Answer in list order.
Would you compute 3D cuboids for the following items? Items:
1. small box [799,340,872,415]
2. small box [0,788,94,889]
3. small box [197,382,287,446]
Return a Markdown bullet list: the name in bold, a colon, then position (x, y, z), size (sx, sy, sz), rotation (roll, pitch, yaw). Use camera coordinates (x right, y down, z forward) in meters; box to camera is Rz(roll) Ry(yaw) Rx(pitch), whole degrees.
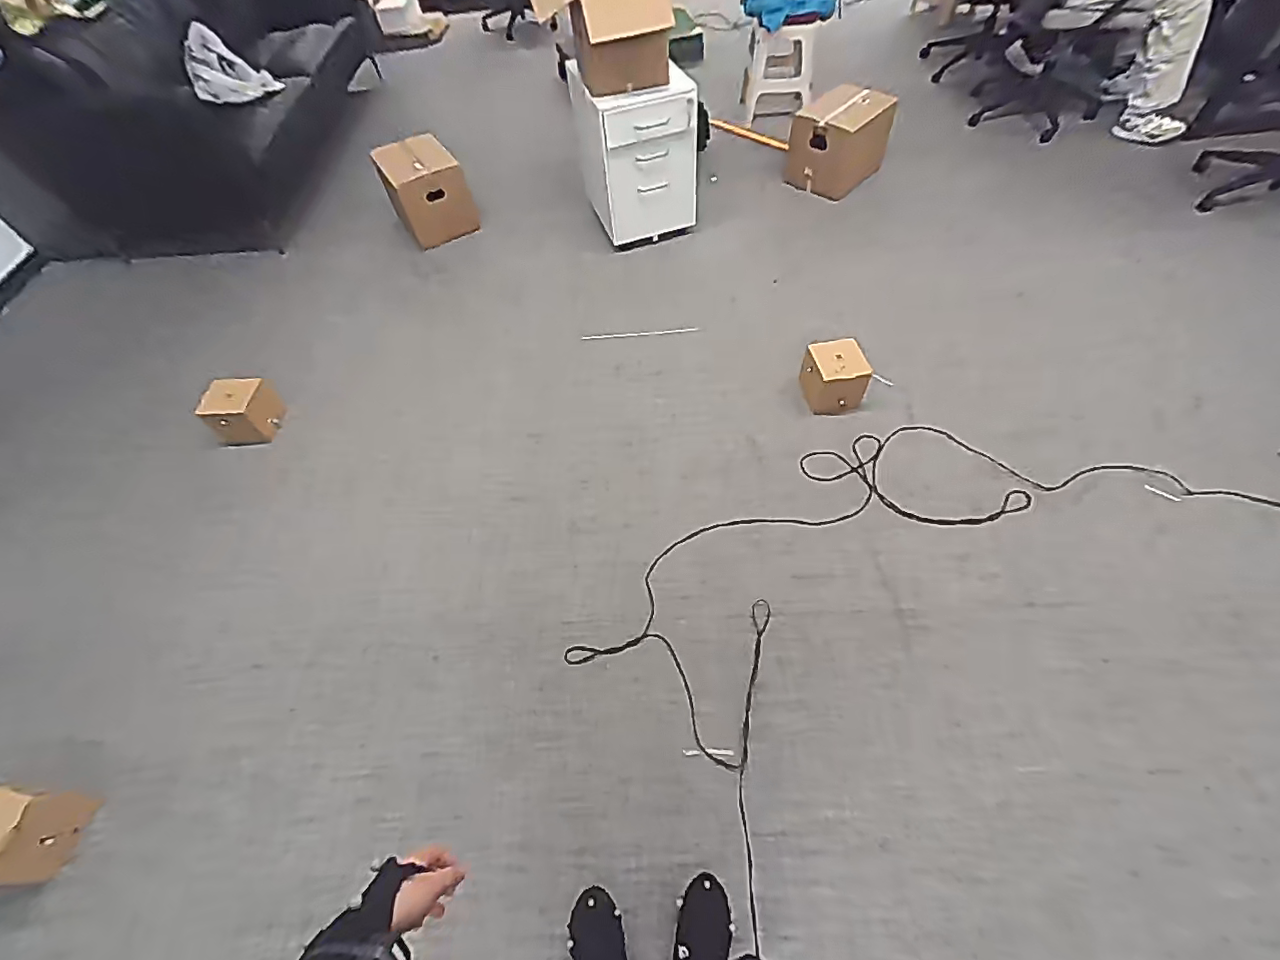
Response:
- **small box**: position (0.661, -0.350, 1.854), size (0.168, 0.176, 0.179), rotation (-10, 56, -2)
- **small box**: position (-1.438, 0.815, 1.237), size (0.179, 0.176, 0.168), rotation (8, 57, 10)
- **small box**: position (-1.442, -0.237, 1.972), size (0.179, 0.176, 0.168), rotation (-2, 56, 2)
